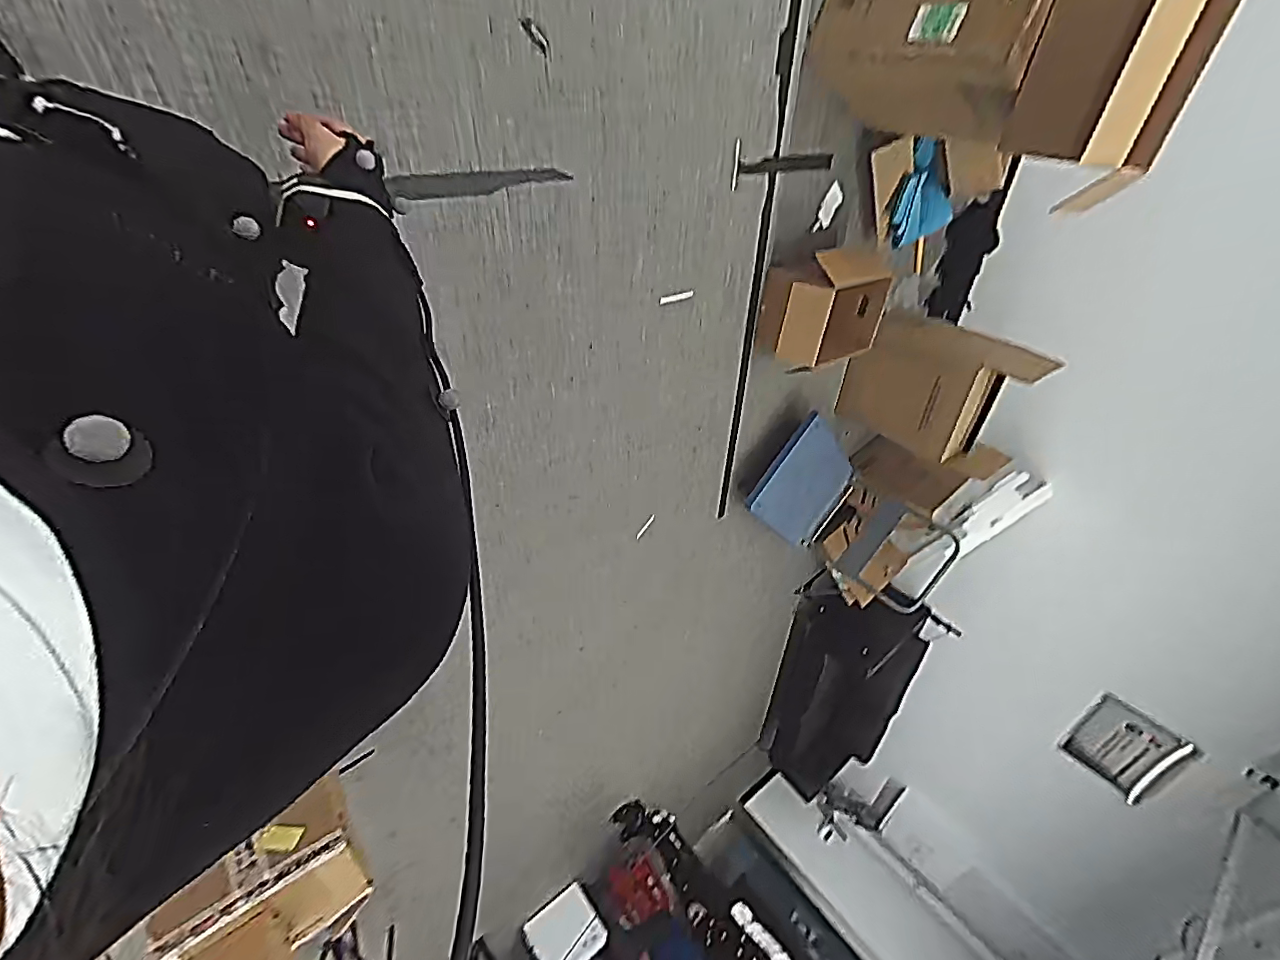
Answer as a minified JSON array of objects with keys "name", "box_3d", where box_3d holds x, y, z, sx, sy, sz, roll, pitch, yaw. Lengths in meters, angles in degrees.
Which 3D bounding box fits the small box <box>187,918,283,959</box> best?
[{"name":"small box","box_3d":[-0.943,1.176,1.251,0.179,0.176,0.168,-24,131,-30]}]
